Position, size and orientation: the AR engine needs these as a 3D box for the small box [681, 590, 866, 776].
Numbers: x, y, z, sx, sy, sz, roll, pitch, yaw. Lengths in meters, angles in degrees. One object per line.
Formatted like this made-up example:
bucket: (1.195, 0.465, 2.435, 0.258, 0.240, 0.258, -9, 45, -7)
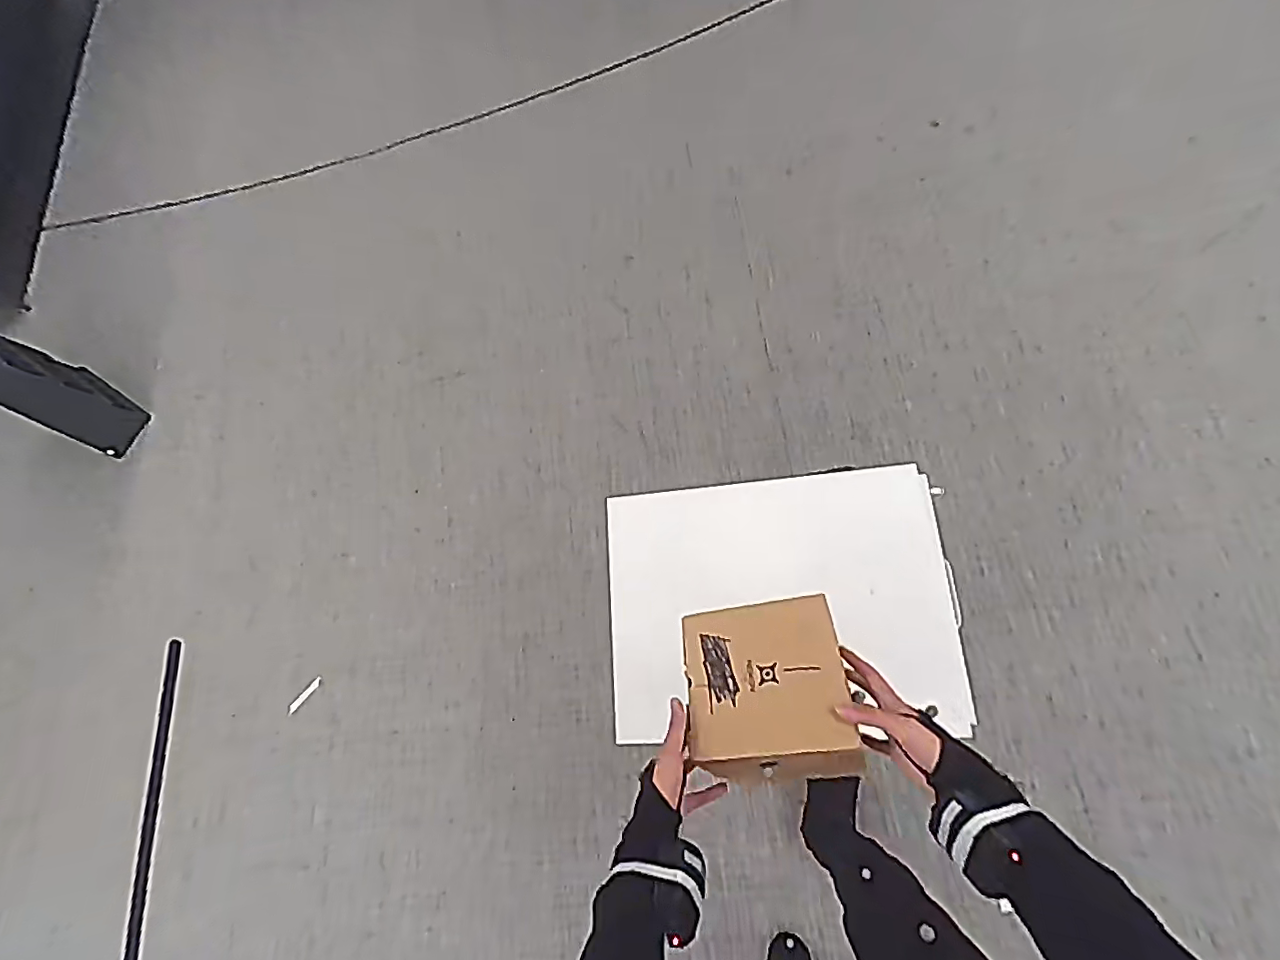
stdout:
small box: (0.162, 0.255, 0.662, 0.179, 0.176, 0.168, -14, 52, 17)
